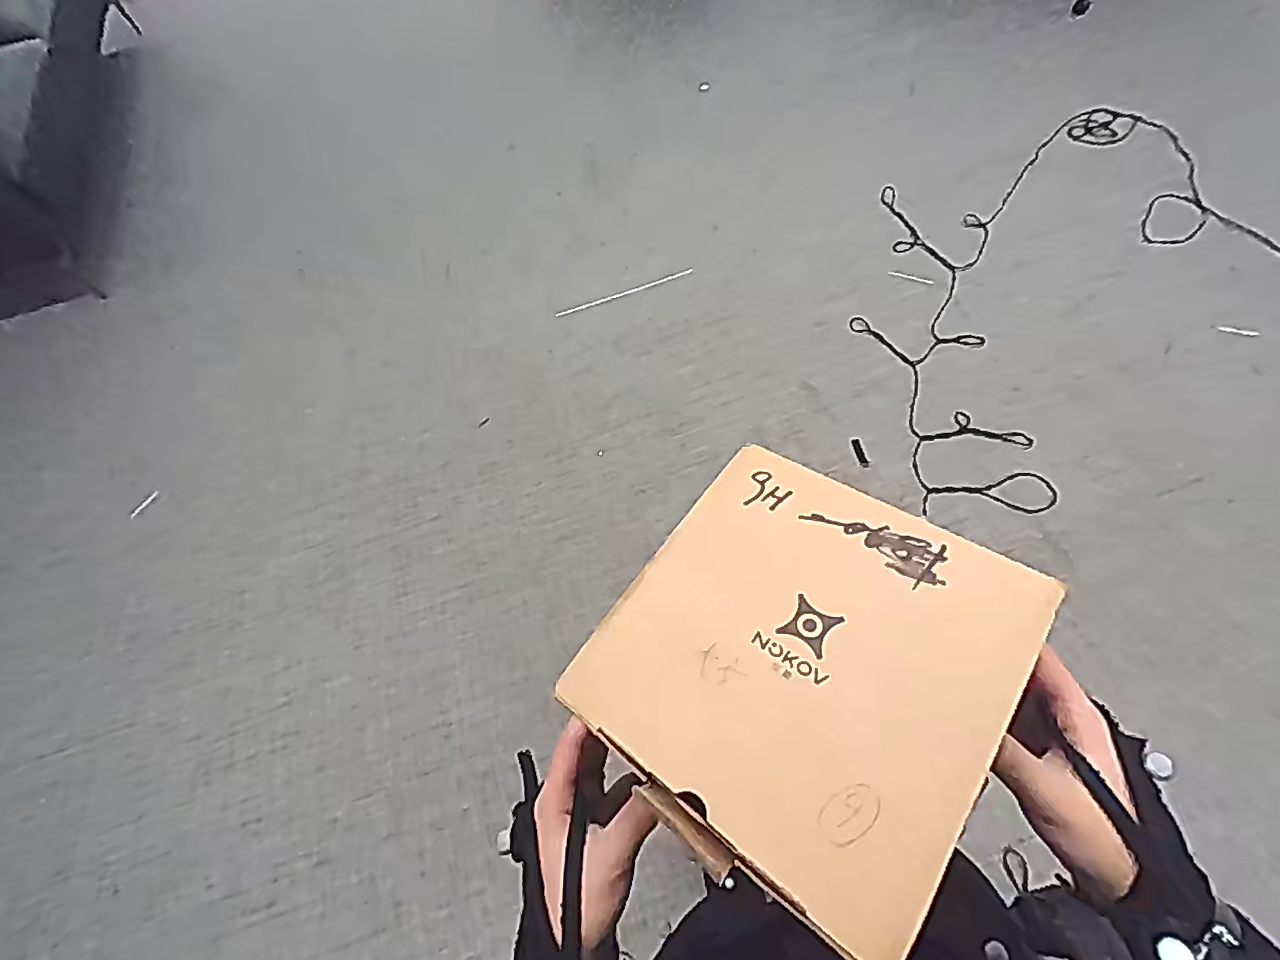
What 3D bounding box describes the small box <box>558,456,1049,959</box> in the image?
[{"bbox_3d":[0.088,0.125,0.317,0.168,0.176,0.179,29,67,29],"label":"small box"}]
